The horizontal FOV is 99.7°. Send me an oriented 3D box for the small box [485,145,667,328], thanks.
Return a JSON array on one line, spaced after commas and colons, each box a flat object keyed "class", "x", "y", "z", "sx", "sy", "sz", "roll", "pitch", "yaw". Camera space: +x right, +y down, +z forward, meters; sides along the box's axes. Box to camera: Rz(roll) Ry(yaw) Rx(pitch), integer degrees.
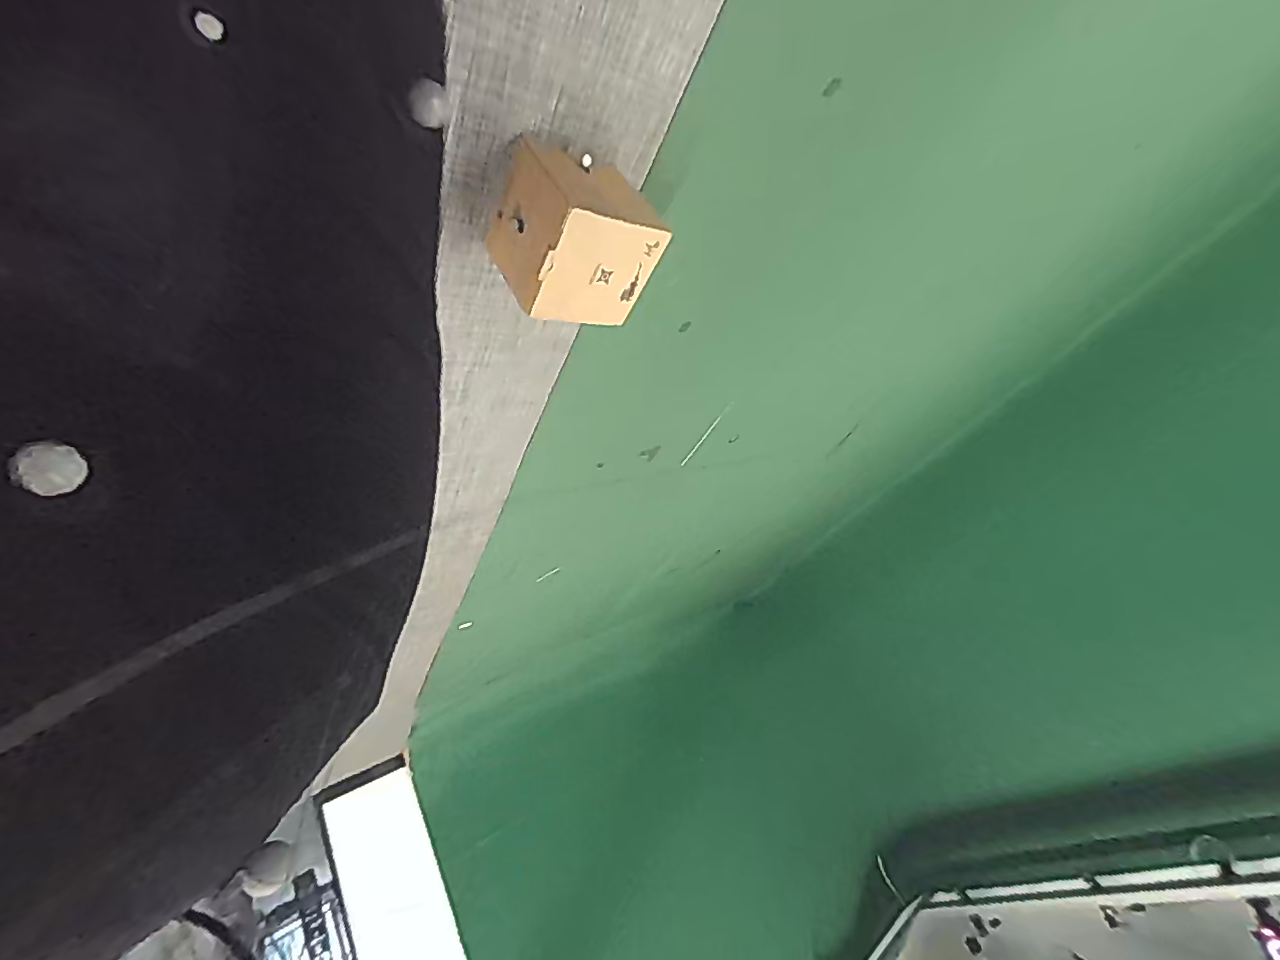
[{"class": "small box", "x": -0.101, "y": -0.347, "z": 0.783, "sx": 0.179, "sy": 0.176, "sz": 0.168, "roll": -8, "pitch": 147, "yaw": -41}]
